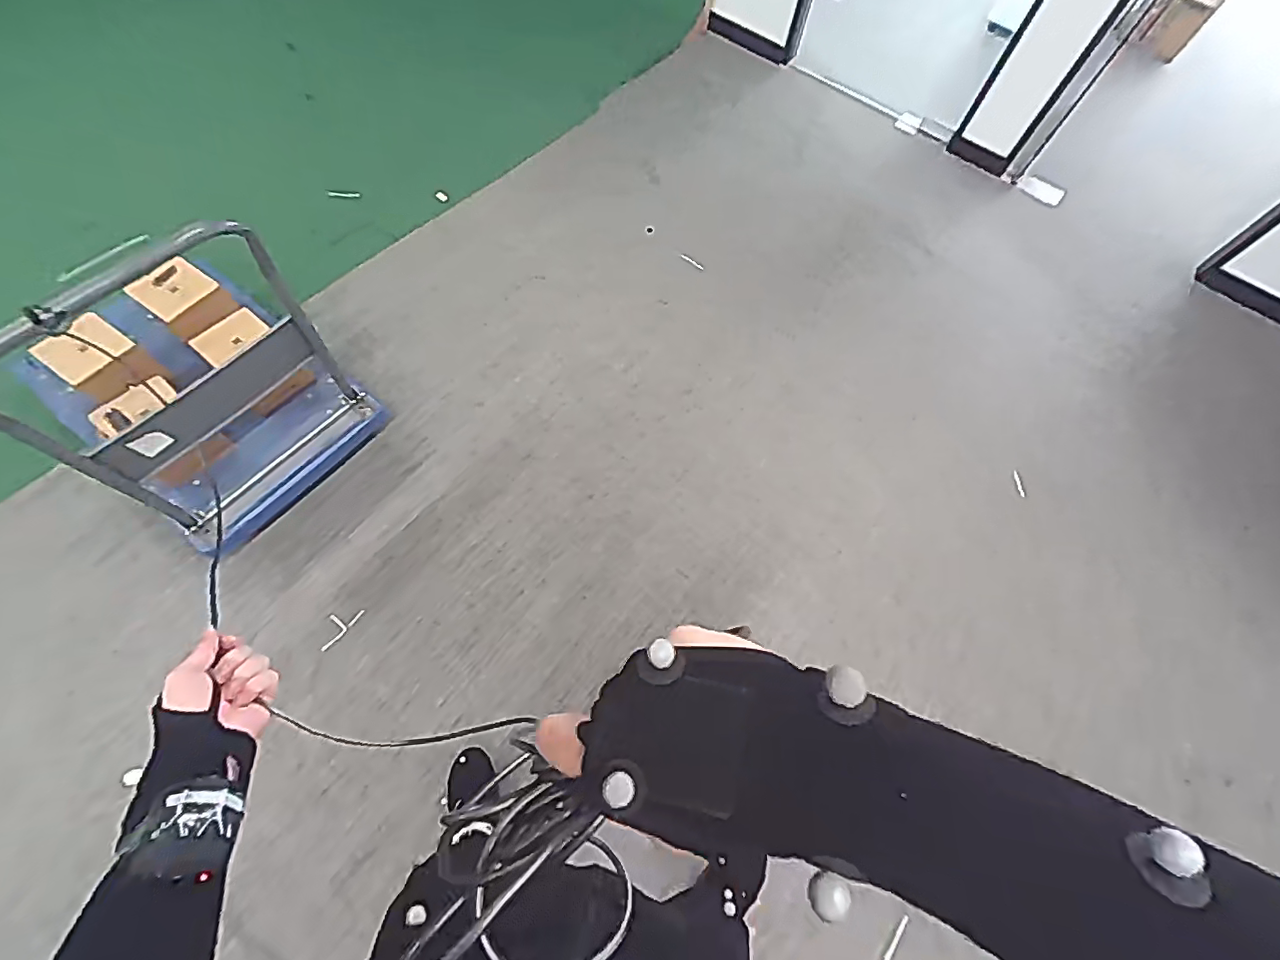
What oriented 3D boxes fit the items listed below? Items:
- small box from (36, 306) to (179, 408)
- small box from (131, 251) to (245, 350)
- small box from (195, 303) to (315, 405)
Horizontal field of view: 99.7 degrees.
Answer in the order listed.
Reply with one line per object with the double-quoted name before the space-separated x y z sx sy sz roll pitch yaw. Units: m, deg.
"small box" -1.393 -0.315 1.430 0.179 0.176 0.168 34 66 10
"small box" -1.251 -0.499 1.527 0.179 0.176 0.168 34 68 9
"small box" -1.041 -0.338 1.476 0.179 0.176 0.168 39 68 11
